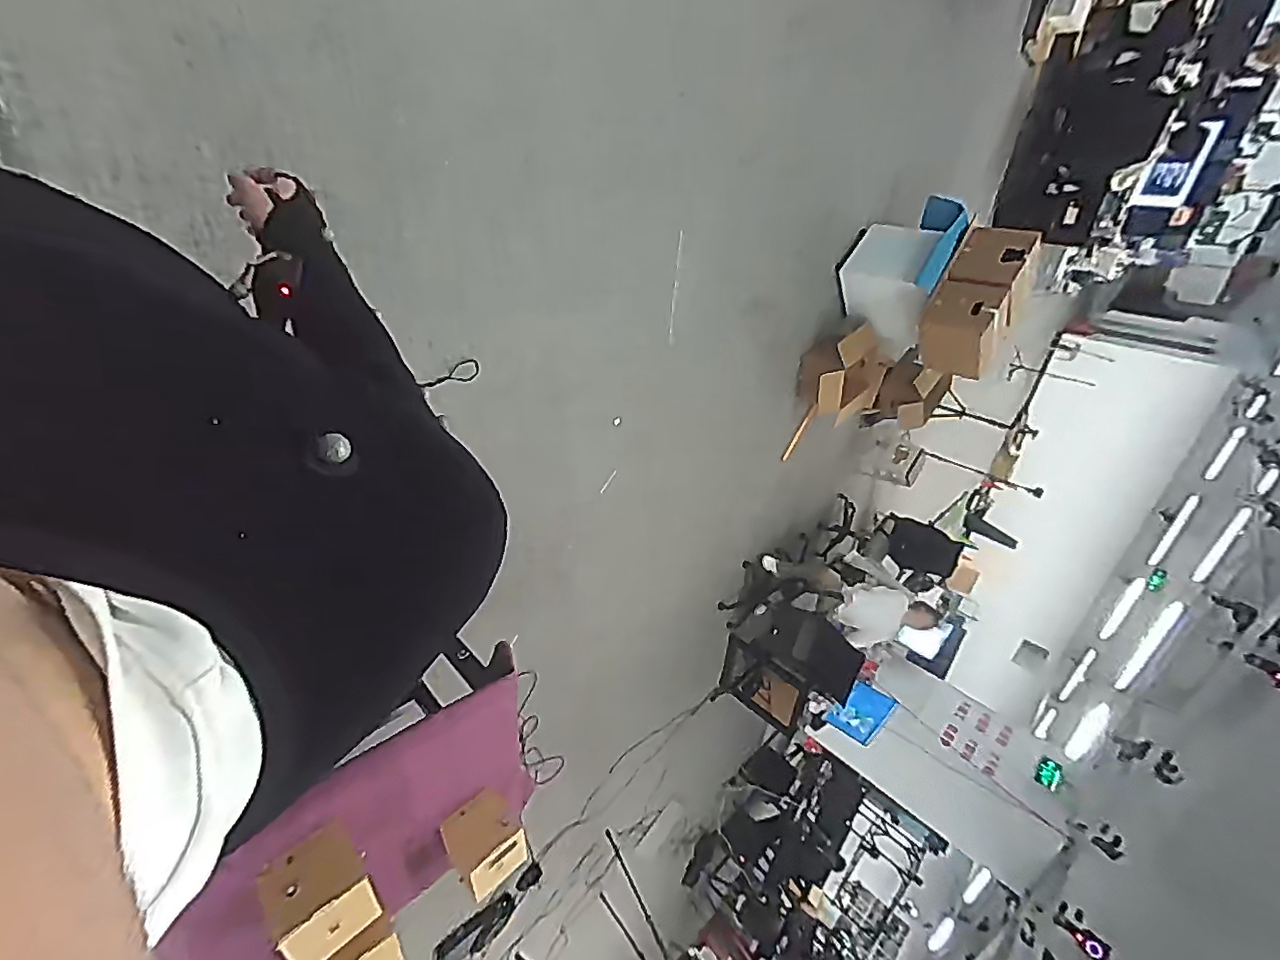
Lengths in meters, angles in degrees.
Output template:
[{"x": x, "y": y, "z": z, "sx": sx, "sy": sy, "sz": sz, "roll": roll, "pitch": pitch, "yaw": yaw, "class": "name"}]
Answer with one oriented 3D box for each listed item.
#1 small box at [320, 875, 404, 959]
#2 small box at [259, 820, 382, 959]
[{"x": -0.697, "y": 1.115, "z": 1.310, "sx": 0.168, "sy": 0.176, "sz": 0.179, "roll": -22, "pitch": 128, "yaw": -39, "class": "small box"}, {"x": -0.686, "y": 0.878, "z": 1.162, "sx": 0.168, "sy": 0.176, "sz": 0.179, "roll": -24, "pitch": 132, "yaw": -37, "class": "small box"}]
